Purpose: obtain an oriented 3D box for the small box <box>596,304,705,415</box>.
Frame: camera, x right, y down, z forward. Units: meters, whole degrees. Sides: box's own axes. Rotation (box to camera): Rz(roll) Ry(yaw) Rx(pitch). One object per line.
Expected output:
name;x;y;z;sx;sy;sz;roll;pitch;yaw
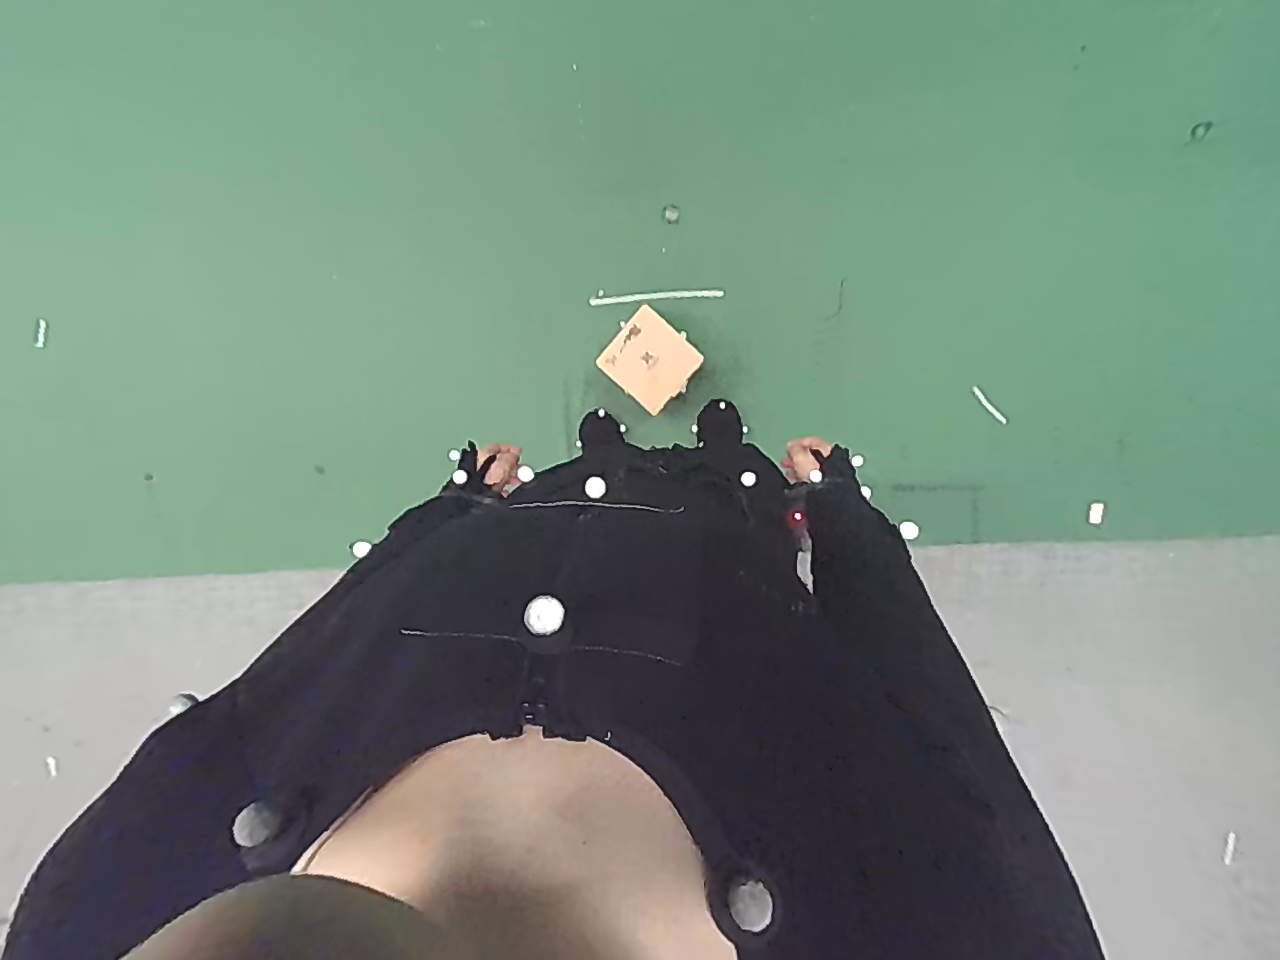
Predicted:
small box;0.028;-0.271;1.221;0.179;0.176;0.168;42;101;-5
